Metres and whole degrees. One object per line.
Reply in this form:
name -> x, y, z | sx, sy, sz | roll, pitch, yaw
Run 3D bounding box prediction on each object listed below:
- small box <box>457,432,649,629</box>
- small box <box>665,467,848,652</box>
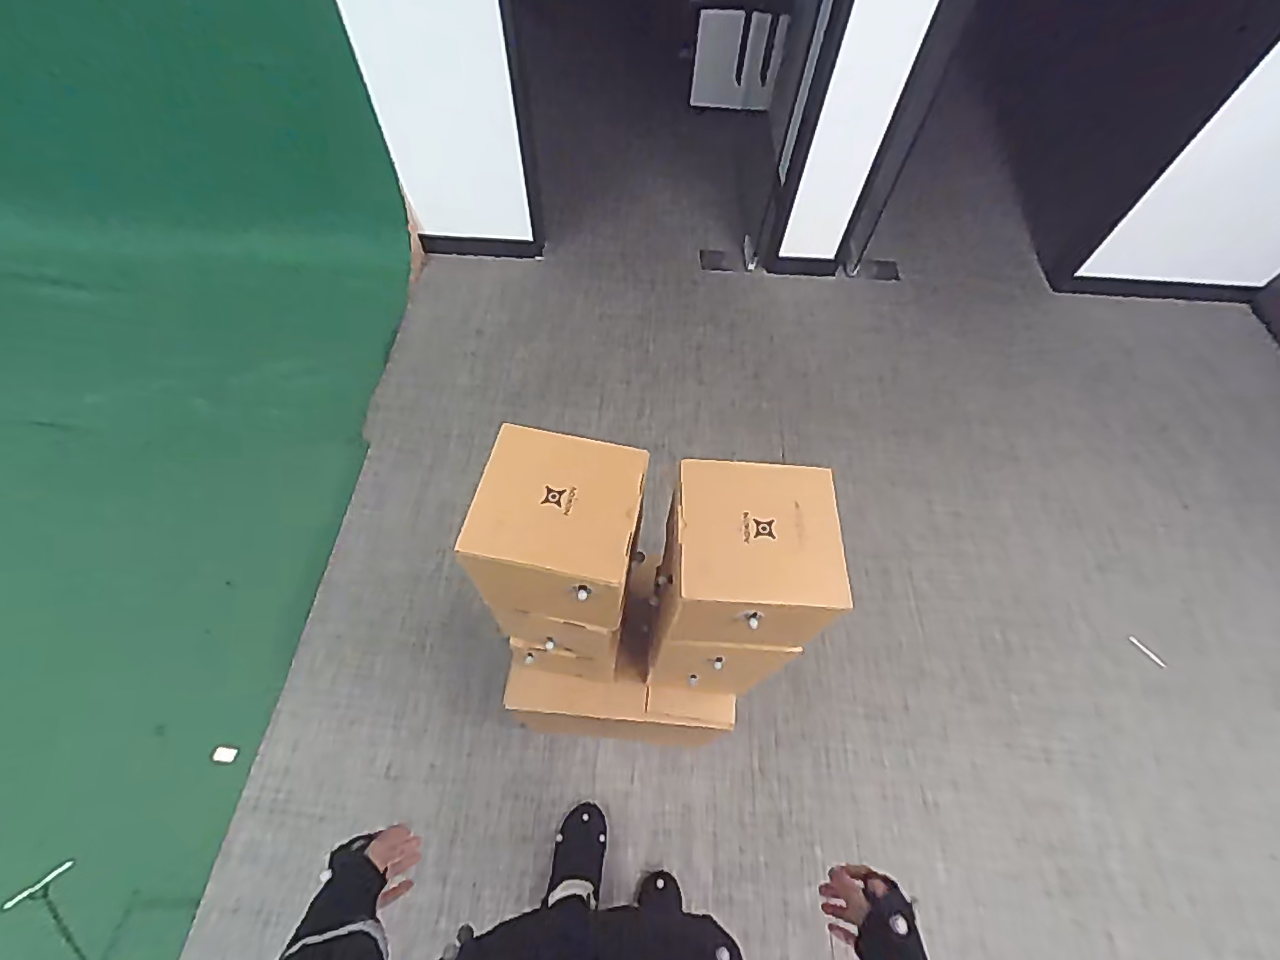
small box -> -0.093, 0.068, 0.655 | 0.179, 0.176, 0.168 | 11, 59, 2
small box -> 0.123, 0.101, 0.645 | 0.179, 0.176, 0.168 | 4, 60, -1
